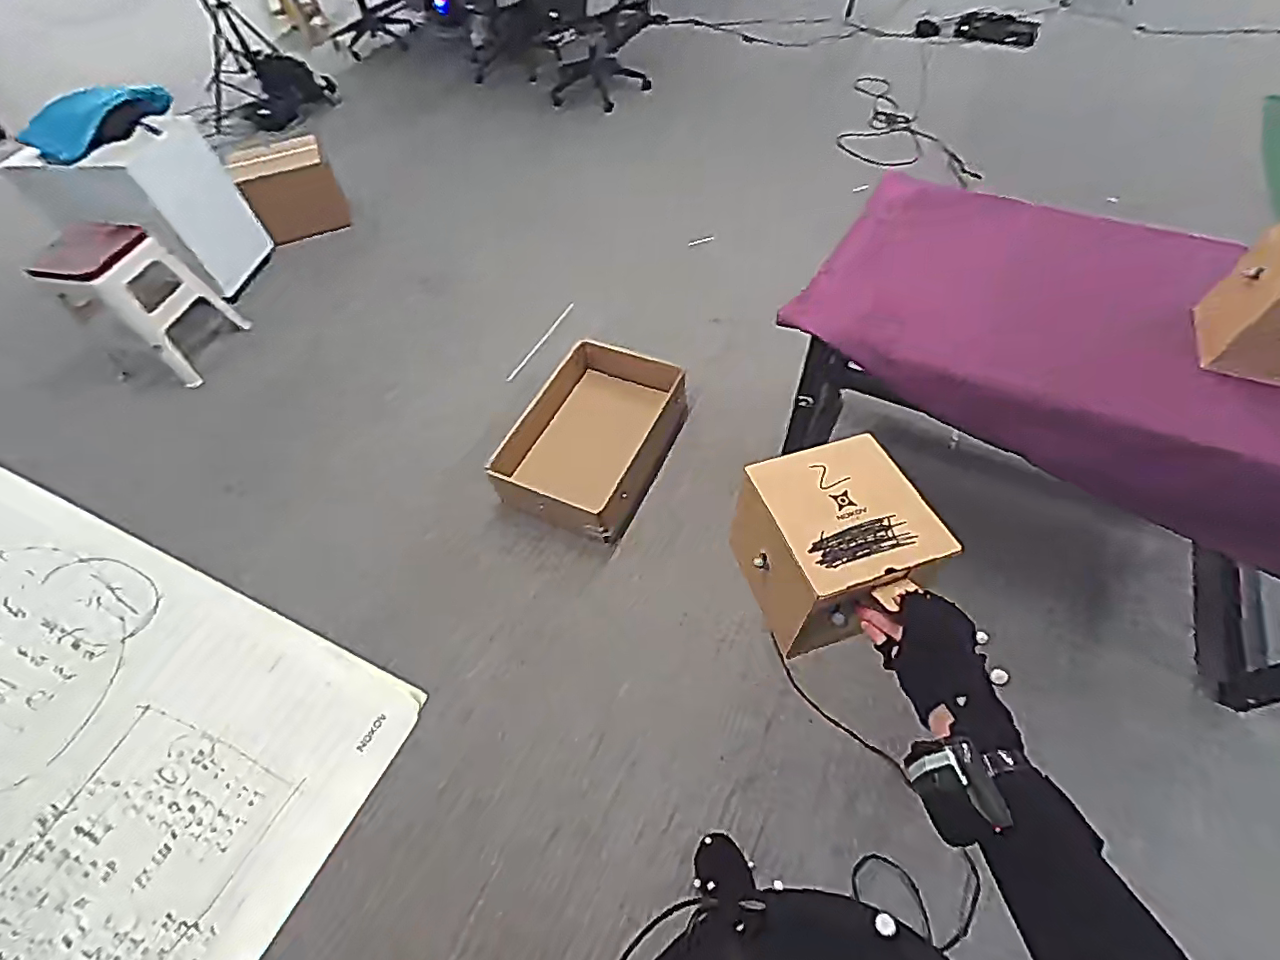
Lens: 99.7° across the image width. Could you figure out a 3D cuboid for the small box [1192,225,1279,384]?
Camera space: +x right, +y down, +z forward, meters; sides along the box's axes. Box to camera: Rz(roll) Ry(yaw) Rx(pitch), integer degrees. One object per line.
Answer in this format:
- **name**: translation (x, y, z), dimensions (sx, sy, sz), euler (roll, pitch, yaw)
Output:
- **small box**: translation (1.056, -0.276, 0.875), dimensions (0.168, 0.176, 0.179), euler (20, 59, 17)
